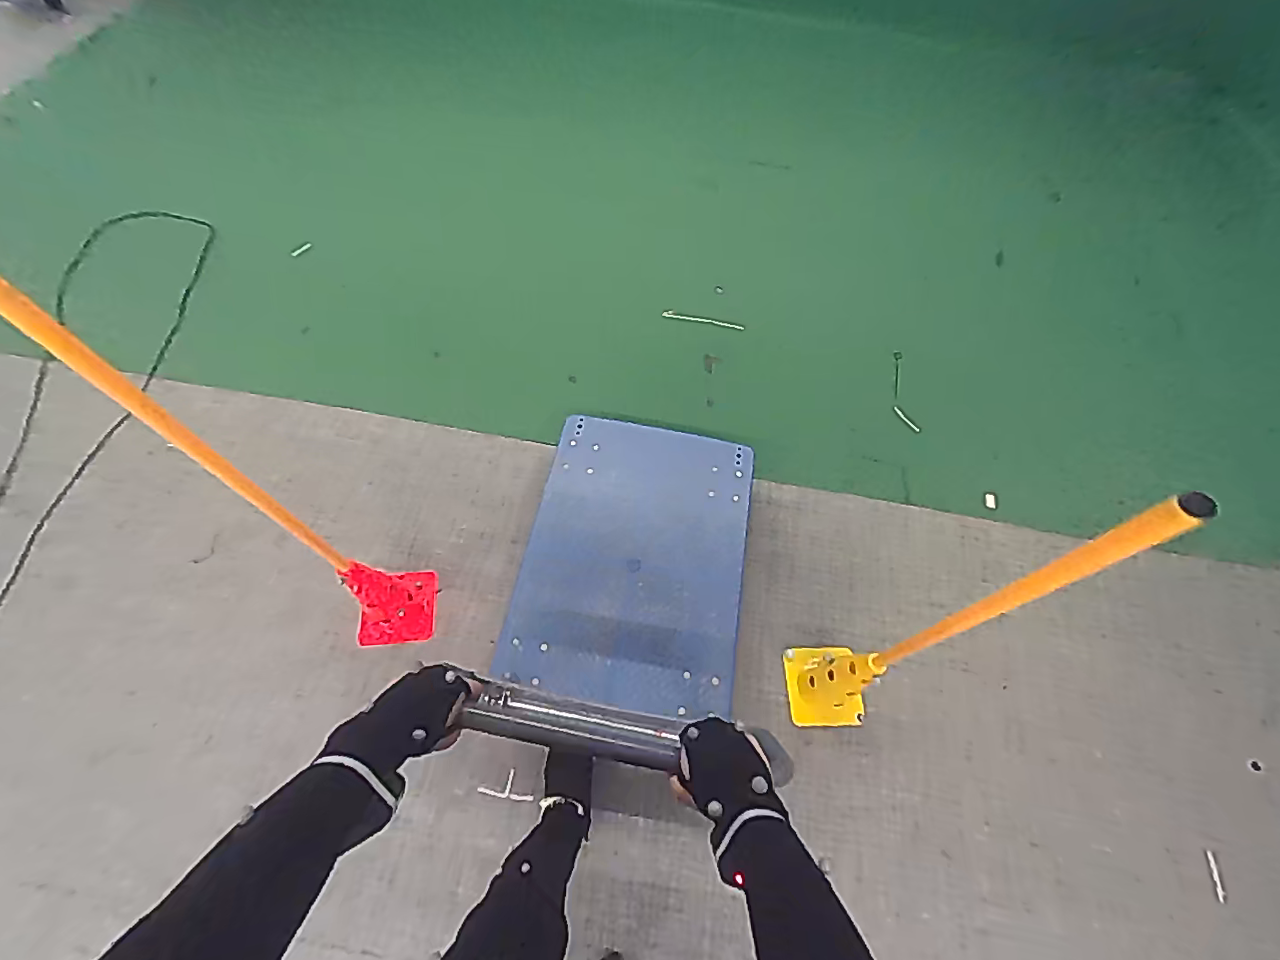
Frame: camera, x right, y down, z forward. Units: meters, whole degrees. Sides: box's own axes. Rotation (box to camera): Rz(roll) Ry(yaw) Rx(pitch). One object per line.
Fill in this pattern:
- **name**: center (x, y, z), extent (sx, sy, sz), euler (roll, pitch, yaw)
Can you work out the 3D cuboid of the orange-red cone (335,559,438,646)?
- **orange-red cone**: center (-0.666, 0.277, 1.352), extent (0.199, 0.360, 0.198), euler (-4, 62, -3)
